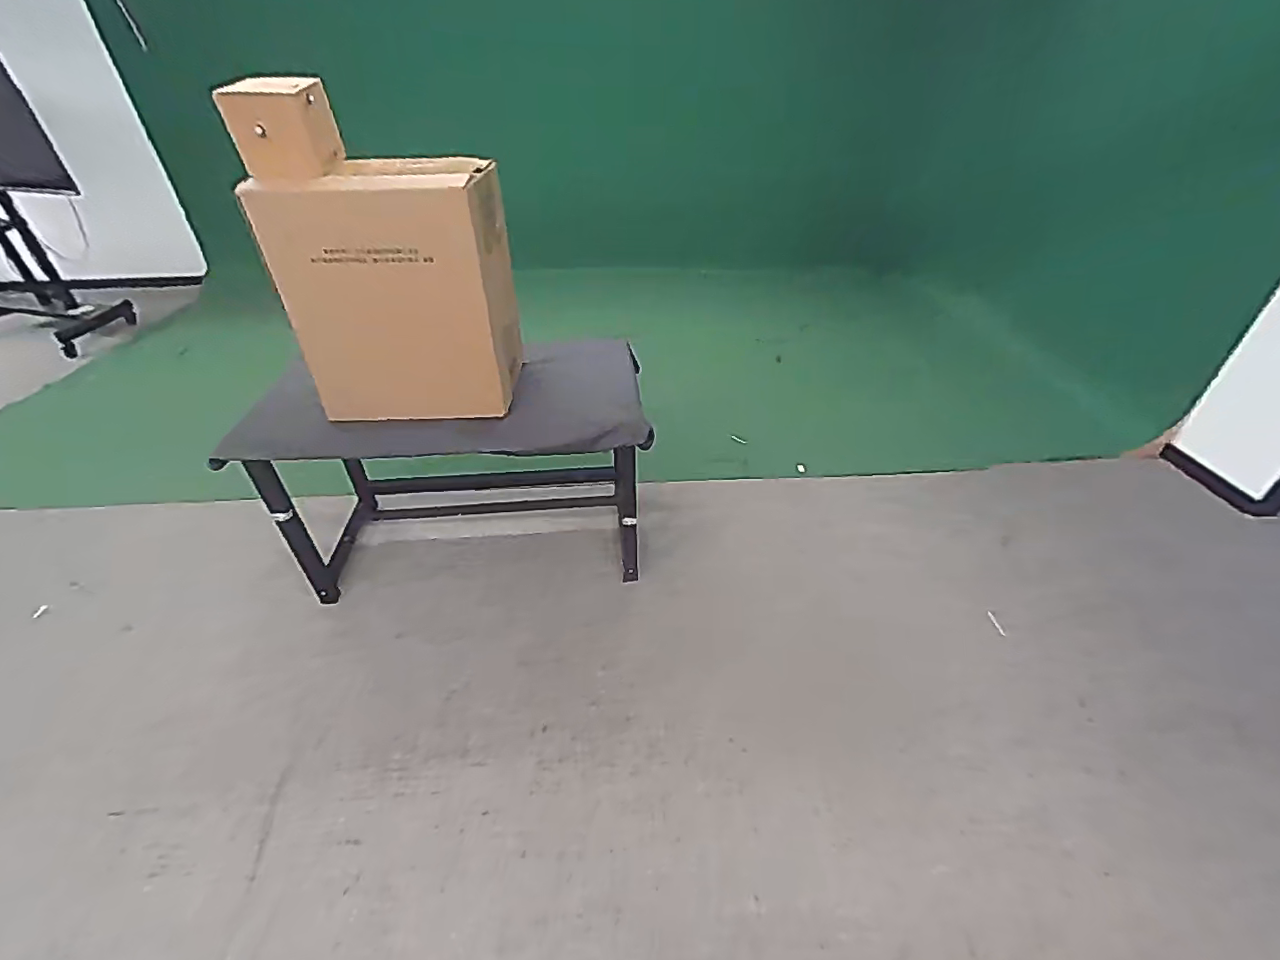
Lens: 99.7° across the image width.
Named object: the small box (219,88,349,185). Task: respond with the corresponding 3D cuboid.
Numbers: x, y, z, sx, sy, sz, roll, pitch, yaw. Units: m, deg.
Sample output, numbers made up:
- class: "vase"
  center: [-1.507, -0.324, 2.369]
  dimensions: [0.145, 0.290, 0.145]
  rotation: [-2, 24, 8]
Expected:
- class: "small box"
  center: [-0.842, -0.824, 1.300]
  dimensions: [0.179, 0.176, 0.168]
  rotation: [-2, 46, -1]
